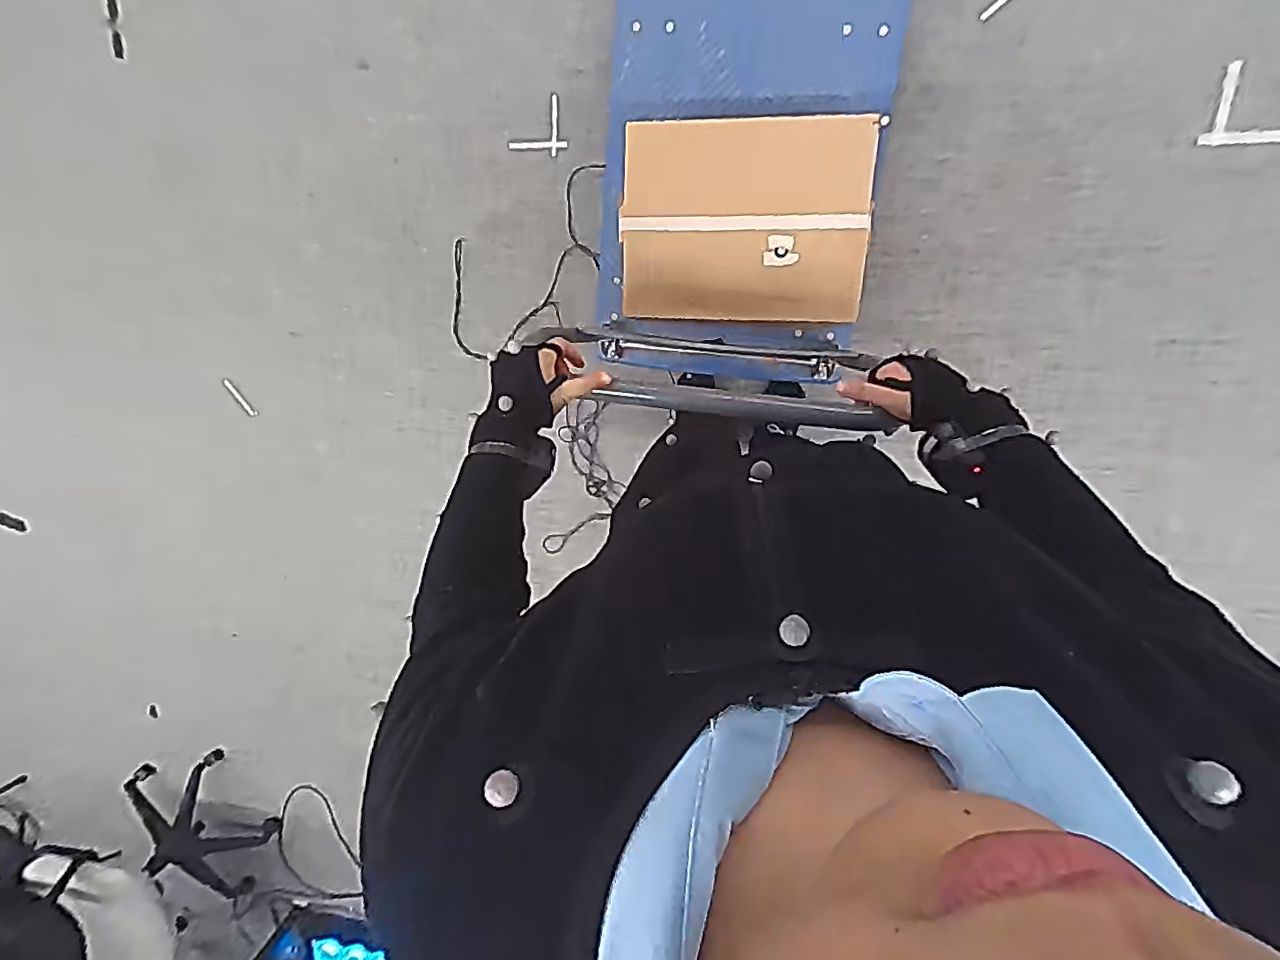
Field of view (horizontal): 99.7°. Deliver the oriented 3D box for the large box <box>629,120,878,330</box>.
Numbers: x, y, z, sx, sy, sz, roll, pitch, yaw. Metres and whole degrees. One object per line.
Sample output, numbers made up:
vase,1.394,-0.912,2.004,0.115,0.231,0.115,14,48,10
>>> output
large box,0.197,-0.460,1.054,0.408,0.320,0.320,3,105,8
